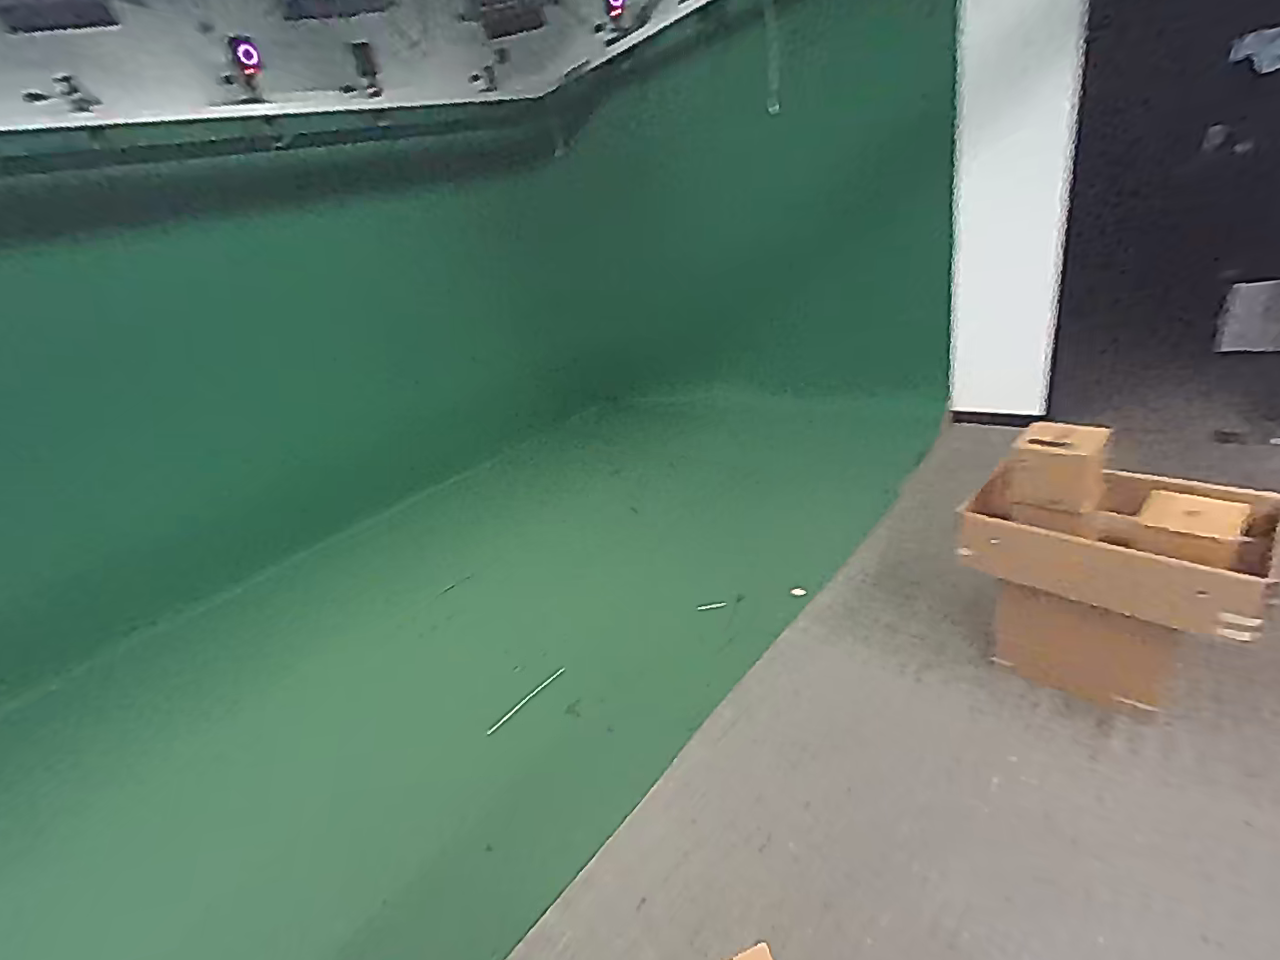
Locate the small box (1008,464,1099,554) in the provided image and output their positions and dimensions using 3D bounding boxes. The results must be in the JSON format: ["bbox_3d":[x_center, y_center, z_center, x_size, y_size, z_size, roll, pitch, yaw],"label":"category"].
[{"bbox_3d":[1.162,0.078,1.527,0.179,0.176,0.168,-34,32,-32],"label":"small box"}]
